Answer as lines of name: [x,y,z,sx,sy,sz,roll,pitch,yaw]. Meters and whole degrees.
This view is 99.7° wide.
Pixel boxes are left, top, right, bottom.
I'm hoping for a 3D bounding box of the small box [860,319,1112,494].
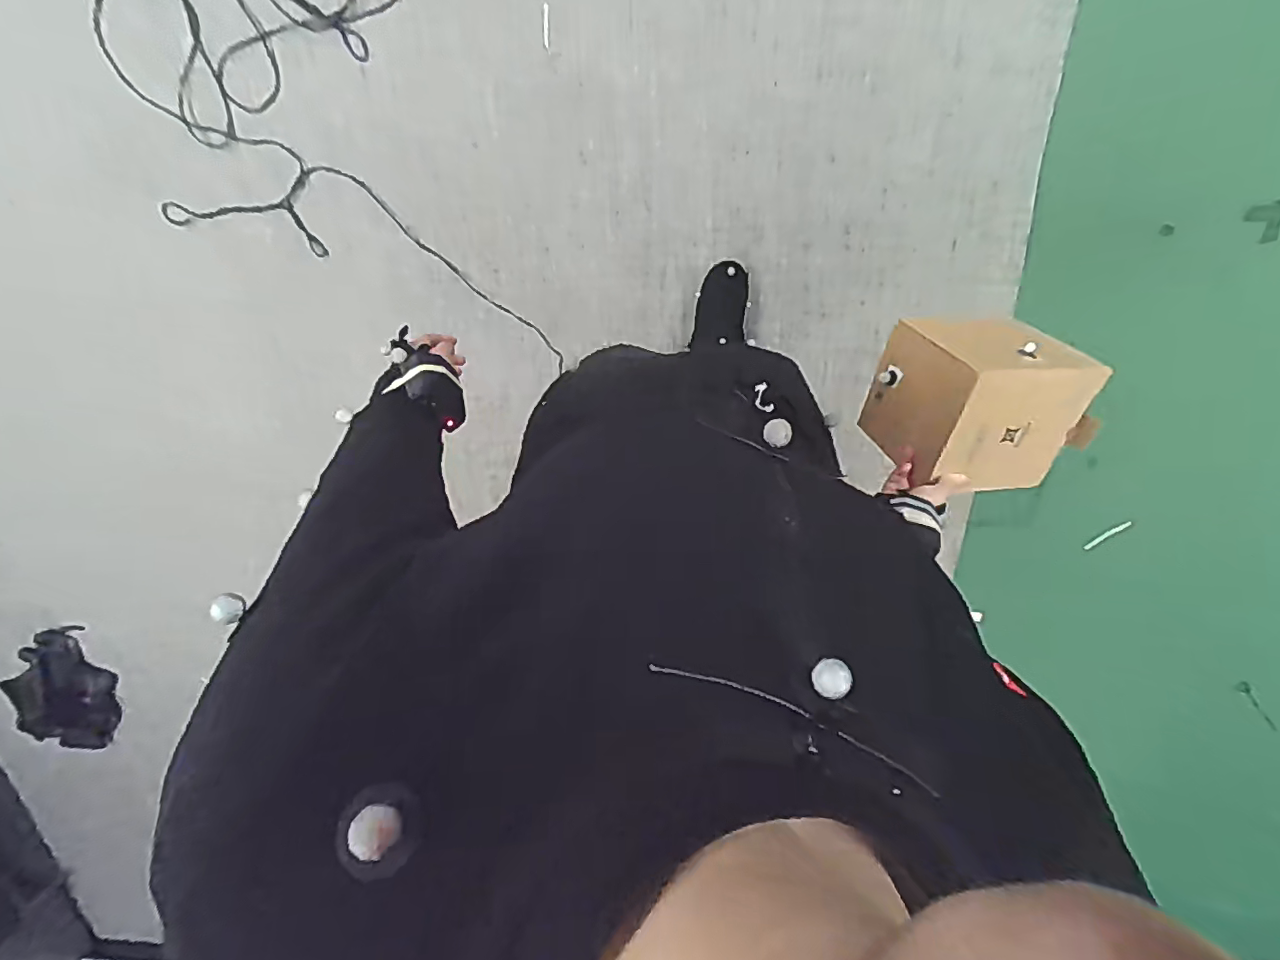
small box: [0.422,-0.100,0.693,0.179,0.176,0.168,-3,126,-11]
